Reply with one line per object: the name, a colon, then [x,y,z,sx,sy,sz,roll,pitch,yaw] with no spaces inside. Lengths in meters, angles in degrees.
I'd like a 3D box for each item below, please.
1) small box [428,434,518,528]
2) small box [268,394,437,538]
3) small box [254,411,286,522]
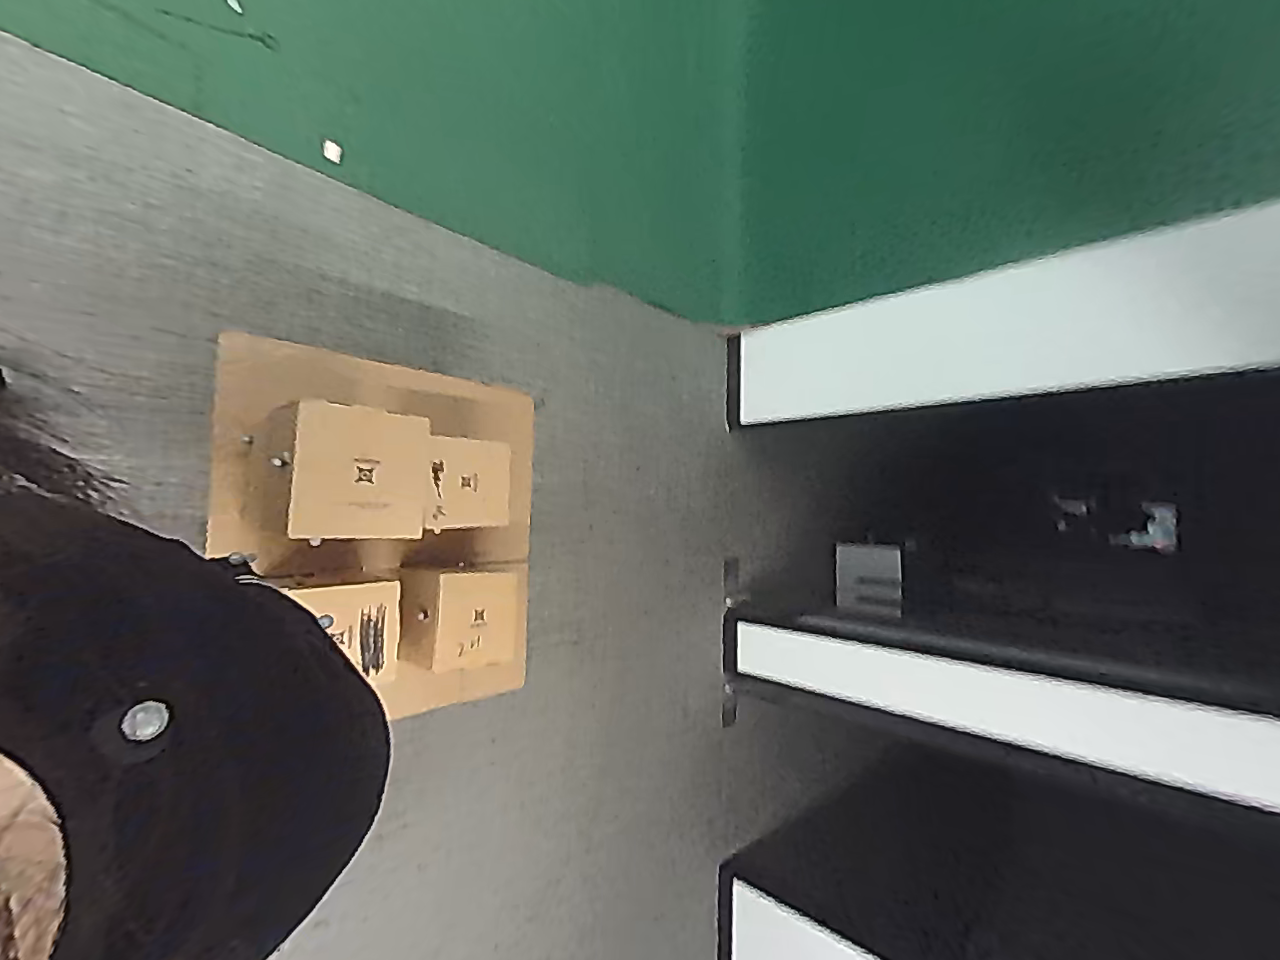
small box: [-0.358,0.007,1.051,0.179,0.176,0.168,3,85,-47]
small box: [-0.409,-0.010,0.767,0.168,0.176,0.179,8,84,-44]
small box: [-0.514,-0.010,0.893,0.179,0.176,0.168,7,84,-46]
